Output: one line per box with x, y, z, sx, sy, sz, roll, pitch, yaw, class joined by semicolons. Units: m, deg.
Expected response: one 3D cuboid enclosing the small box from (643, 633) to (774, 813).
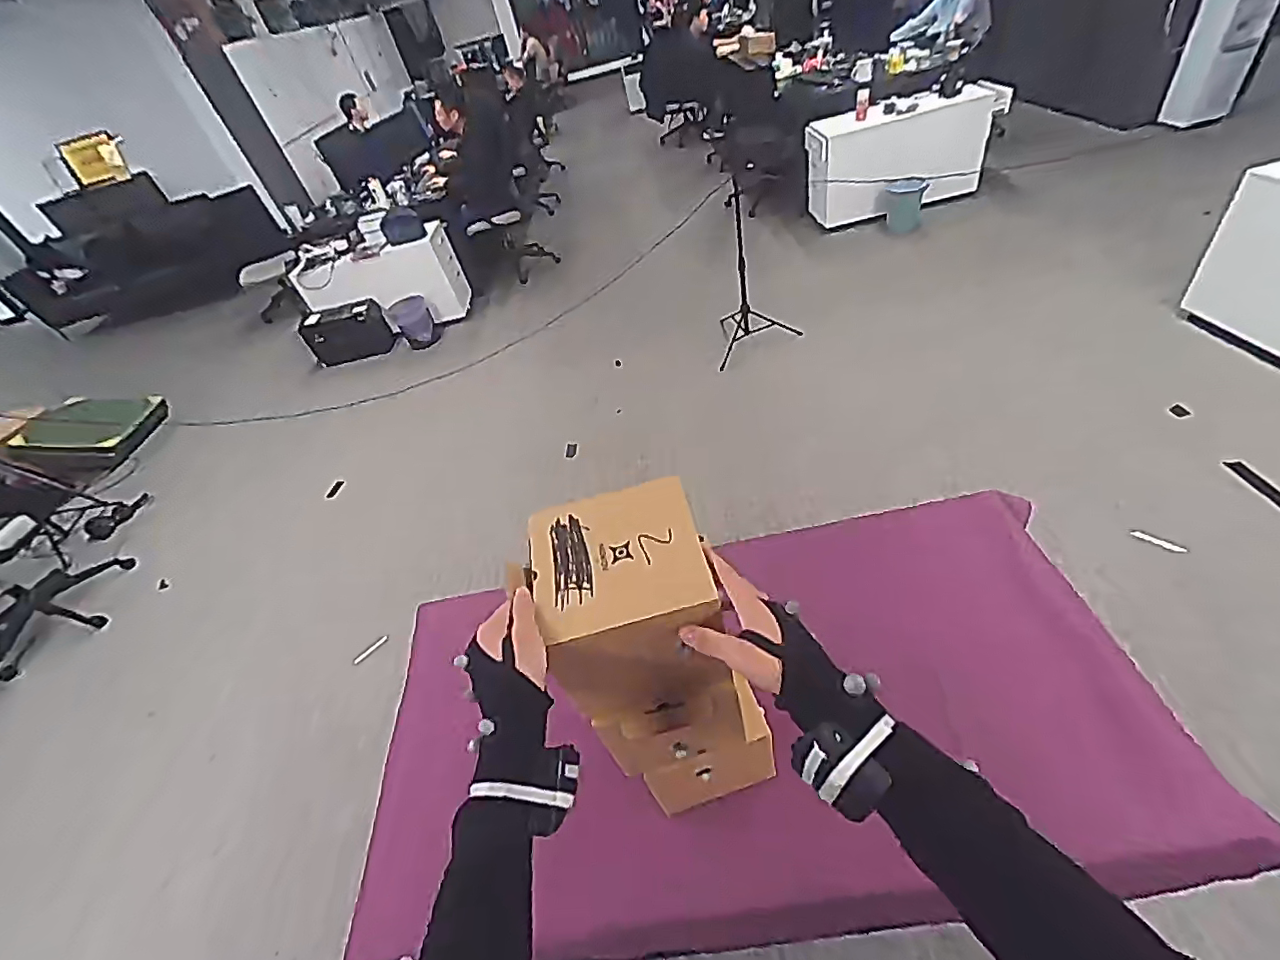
0.086;0.365;0.805;0.179;0.176;0.168;-19;43;-3;small box

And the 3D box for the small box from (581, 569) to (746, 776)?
0.030;0.249;0.699;0.168;0.176;0.179;-16;43;2;small box
